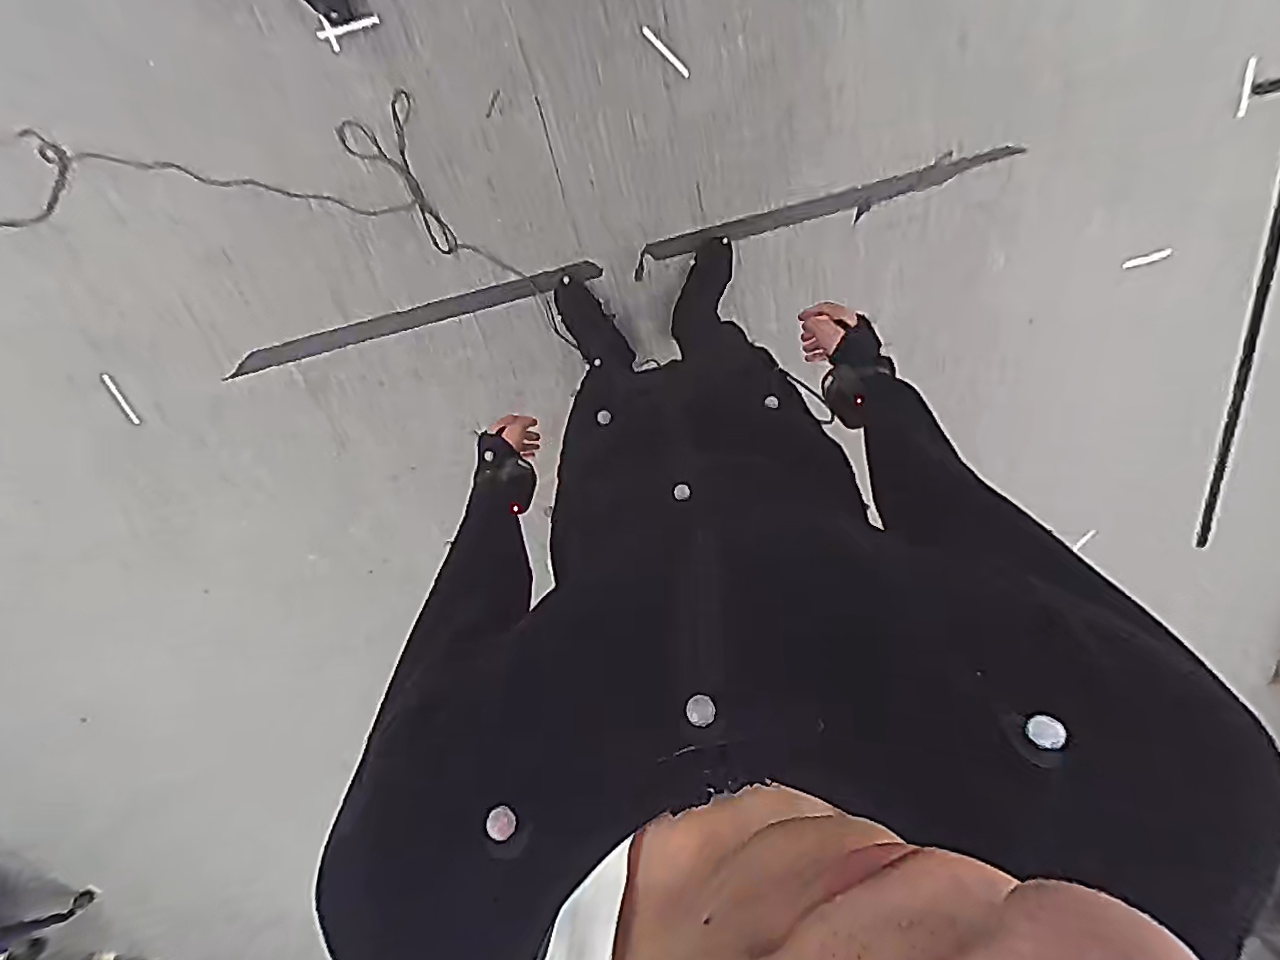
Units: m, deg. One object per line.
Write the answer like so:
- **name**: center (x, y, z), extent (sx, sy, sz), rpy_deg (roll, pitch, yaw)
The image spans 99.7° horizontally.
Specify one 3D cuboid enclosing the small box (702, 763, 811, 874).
- **small box**: center (0.244, 0.740, 1.161), extent (0.168, 0.176, 0.179), rpy_deg (-19, 116, 0)
